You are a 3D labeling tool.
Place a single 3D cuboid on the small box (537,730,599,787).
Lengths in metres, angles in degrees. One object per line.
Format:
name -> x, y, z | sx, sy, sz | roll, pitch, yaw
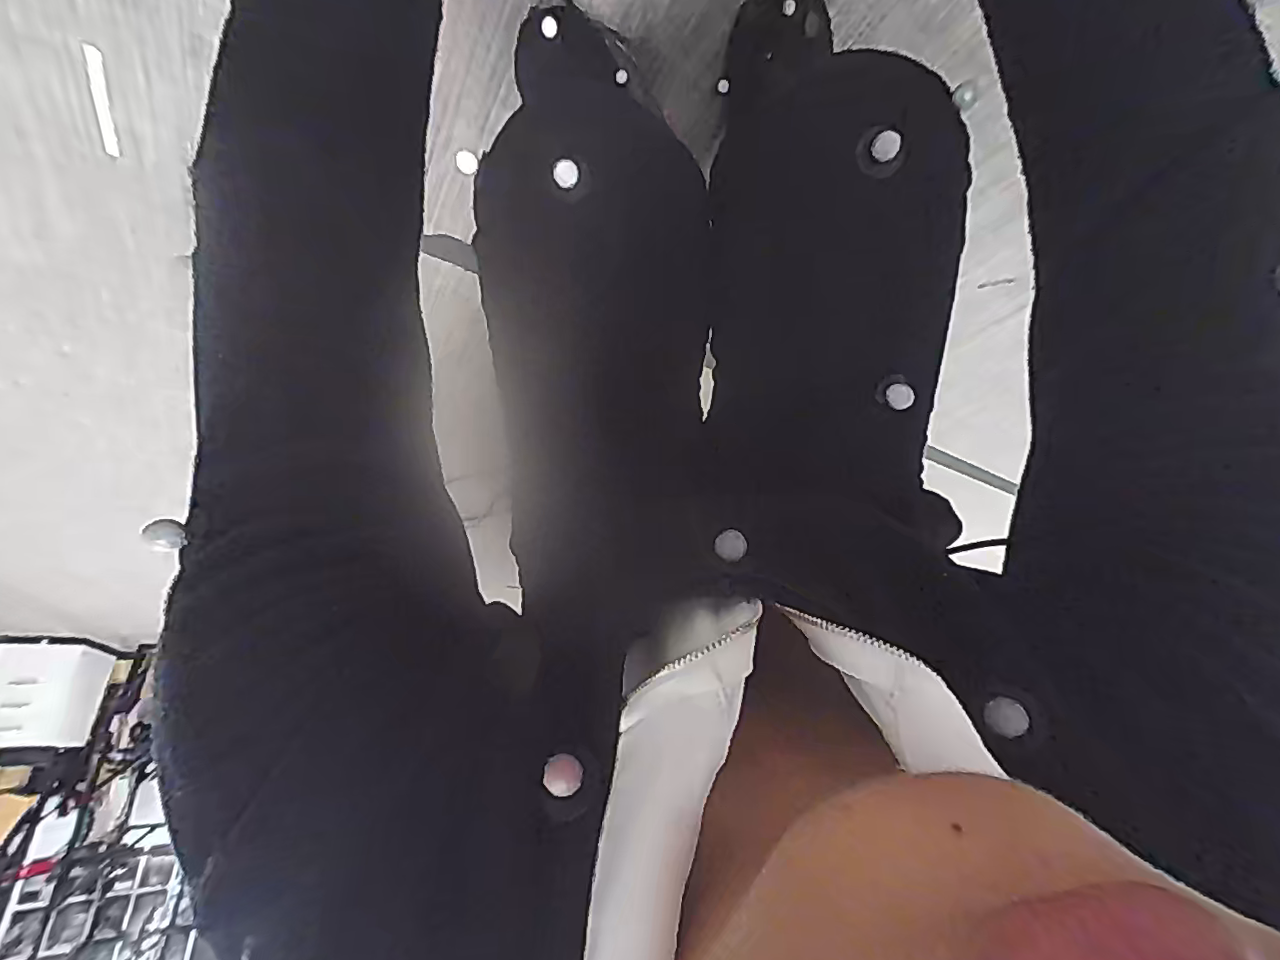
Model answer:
small box -> -0.256, 0.985, 1.914 | 0.179, 0.176, 0.168 | 10, 148, -23
